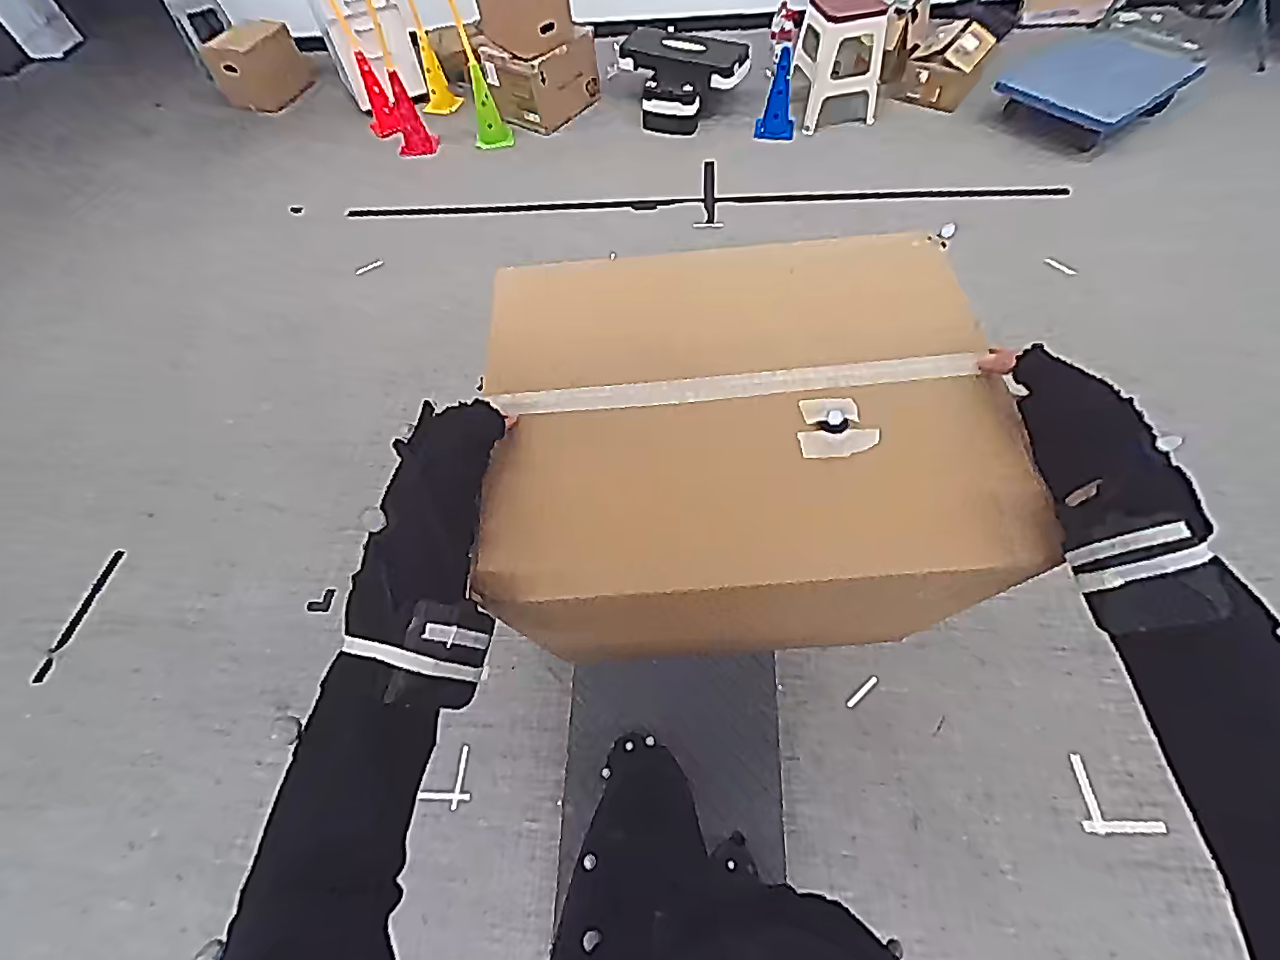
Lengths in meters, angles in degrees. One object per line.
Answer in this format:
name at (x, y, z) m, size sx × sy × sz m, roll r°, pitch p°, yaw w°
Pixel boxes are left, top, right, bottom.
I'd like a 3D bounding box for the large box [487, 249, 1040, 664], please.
large box at (0.083, 0.001, 0.581) m, size 0.408 × 0.320 × 0.320 m, roll -5°, pitch 64°, yaw 2°
